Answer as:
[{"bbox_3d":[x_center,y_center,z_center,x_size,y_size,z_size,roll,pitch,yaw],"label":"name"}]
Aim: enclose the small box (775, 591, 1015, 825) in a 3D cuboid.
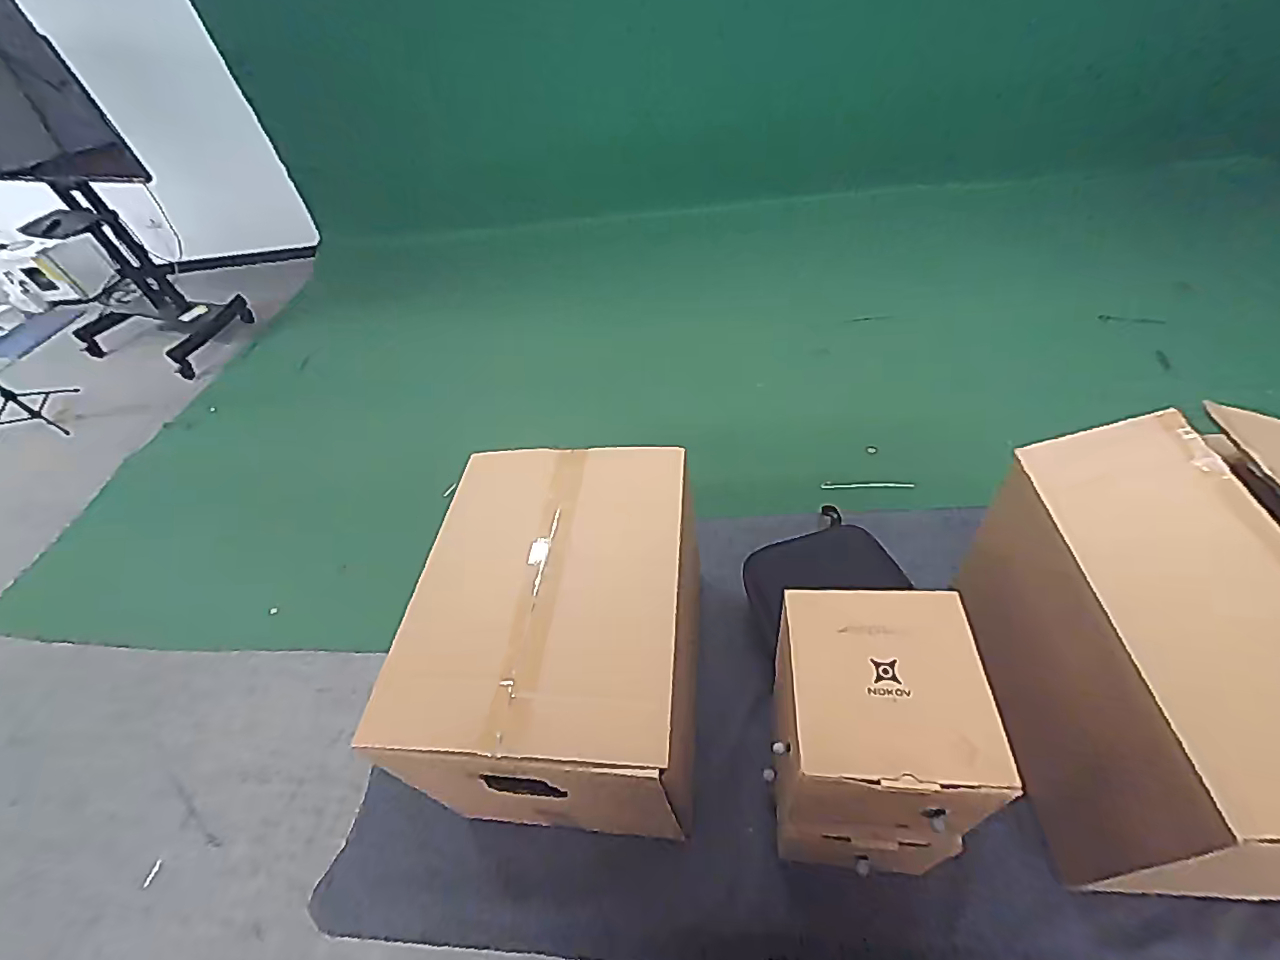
[{"bbox_3d":[0.230,0.230,0.545,0.168,0.176,0.179,-1,47,8],"label":"small box"}]
